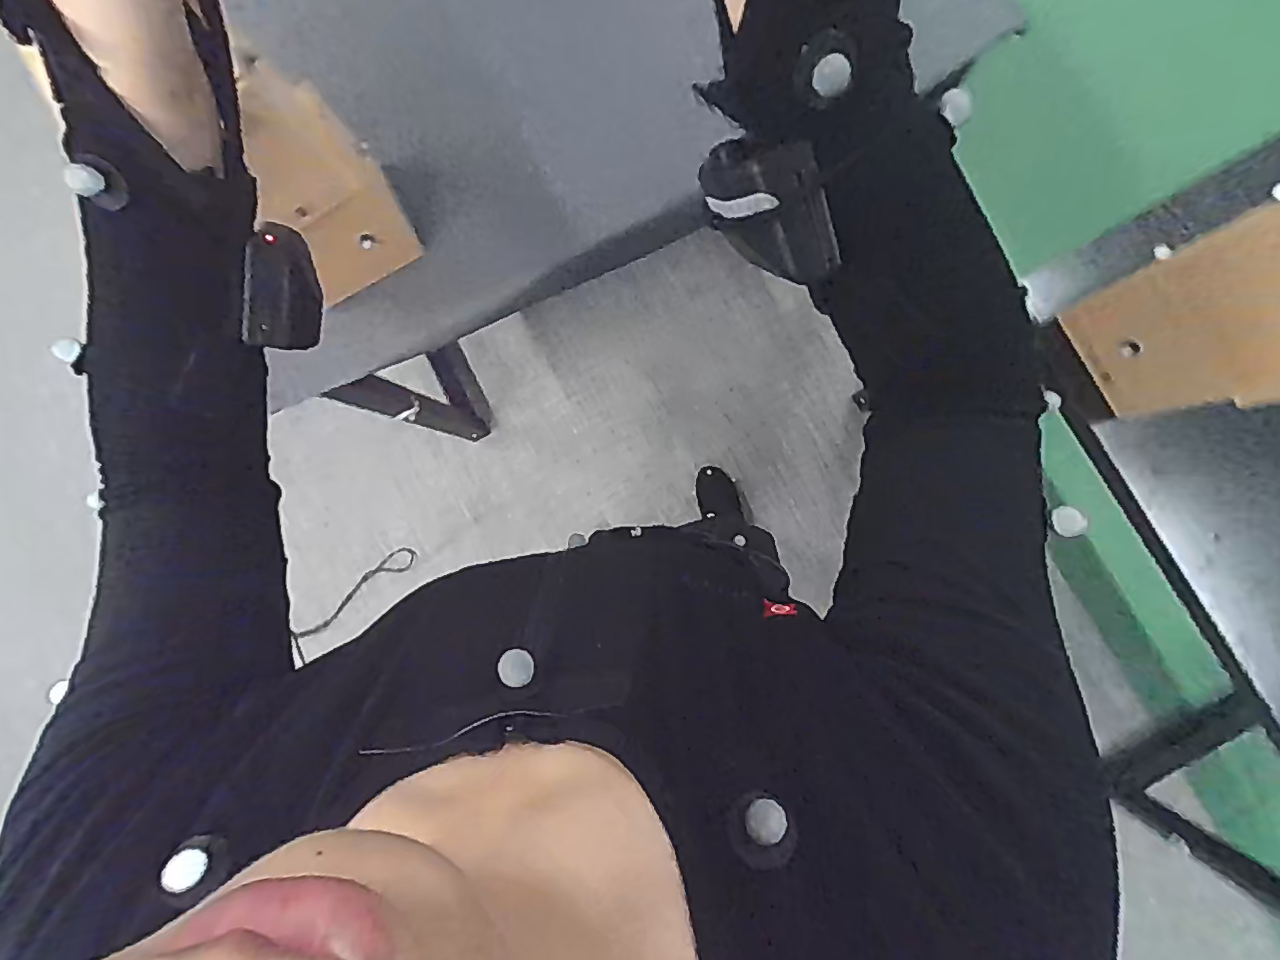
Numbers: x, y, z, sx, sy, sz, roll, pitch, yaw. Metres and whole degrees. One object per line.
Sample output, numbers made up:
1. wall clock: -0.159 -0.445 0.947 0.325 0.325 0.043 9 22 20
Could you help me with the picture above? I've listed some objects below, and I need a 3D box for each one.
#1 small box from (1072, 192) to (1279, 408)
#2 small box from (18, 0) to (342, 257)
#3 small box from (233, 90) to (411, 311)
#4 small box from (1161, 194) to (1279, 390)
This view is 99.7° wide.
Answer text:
1. small box: 0.677 -0.204 0.650 0.179 0.176 0.168 -29 87 2
2. small box: -0.464 -0.369 0.575 0.168 0.176 0.179 -33 83 1
3. small box: -0.444 -0.365 0.739 0.179 0.176 0.168 -29 84 3
4. small box: 0.654 -0.197 0.489 0.168 0.176 0.179 -29 86 3
